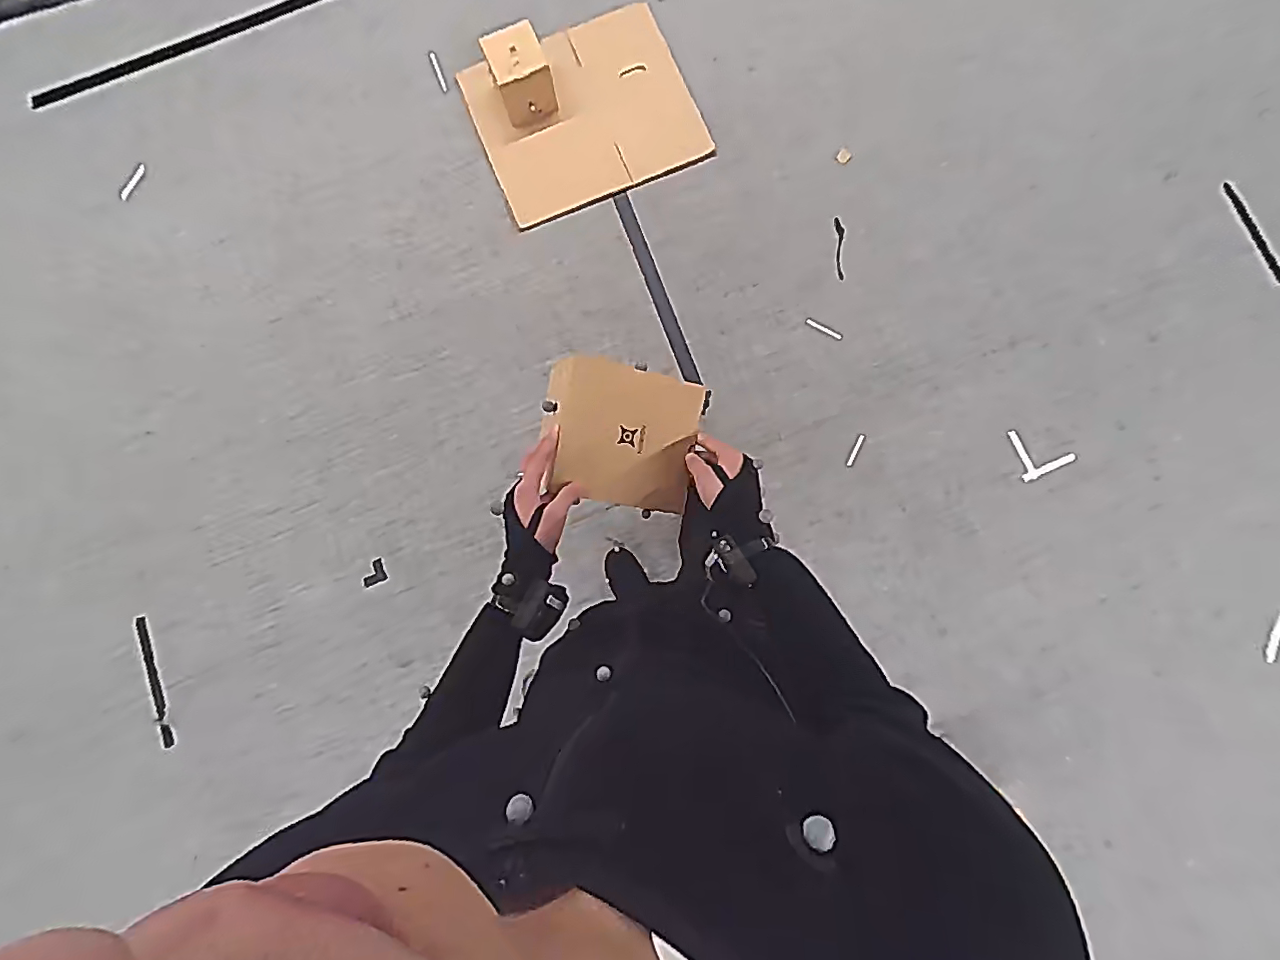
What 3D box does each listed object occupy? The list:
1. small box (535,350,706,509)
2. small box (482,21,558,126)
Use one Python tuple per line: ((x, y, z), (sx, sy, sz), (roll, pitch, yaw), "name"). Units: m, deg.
((-0.037, -0.063, 0.726), (0.179, 0.176, 0.168), (10, 92, -19), "small box")
((-0.376, -1.281, 1.714), (0.168, 0.176, 0.179), (-23, 84, 0), "small box")
